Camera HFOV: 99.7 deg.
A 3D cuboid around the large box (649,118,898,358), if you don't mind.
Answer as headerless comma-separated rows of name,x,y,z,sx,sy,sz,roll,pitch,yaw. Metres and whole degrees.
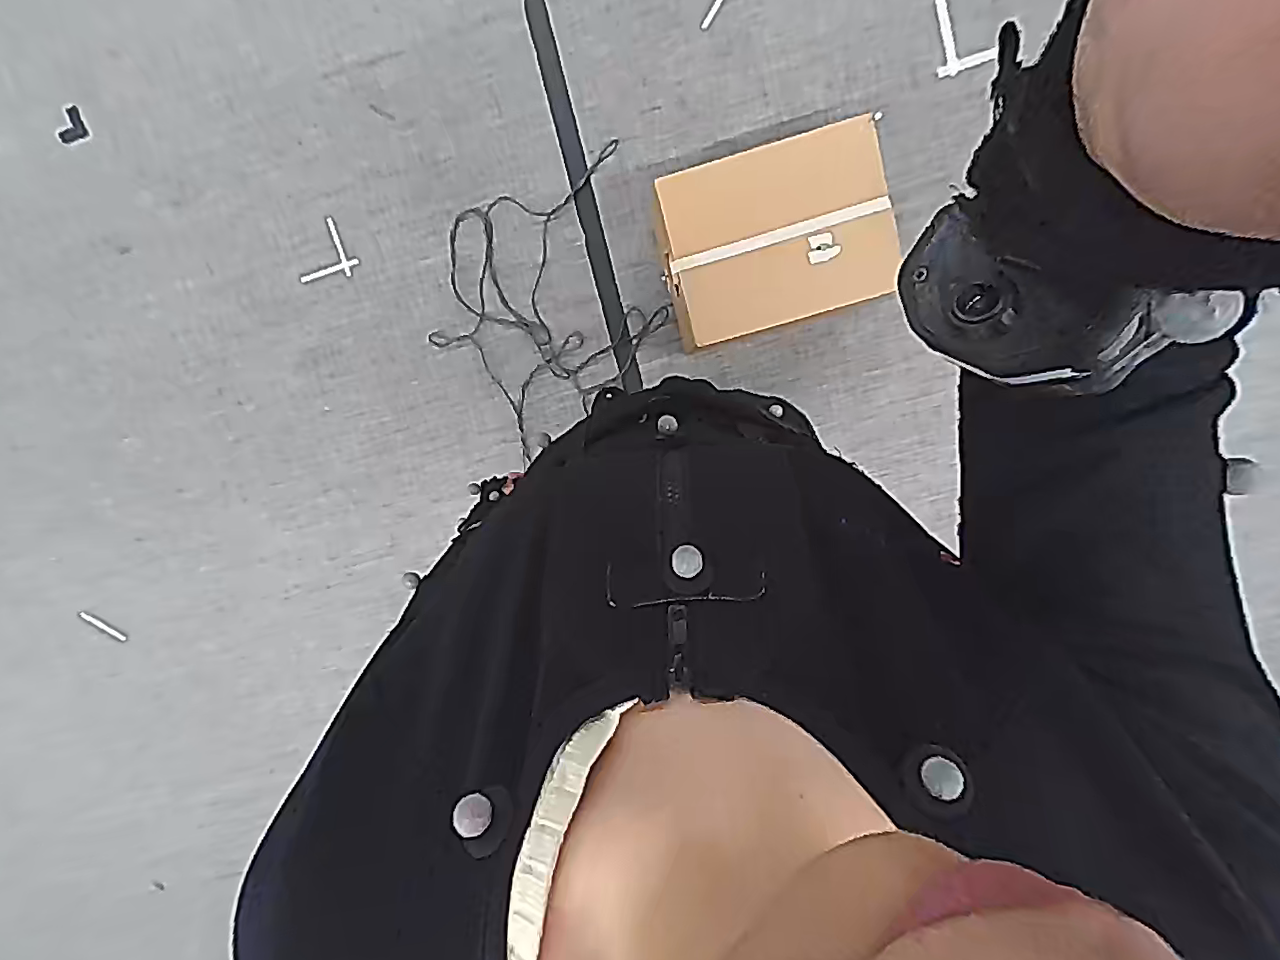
large box,0.253,-0.472,1.147,0.408,0.320,0.320,-16,100,3
